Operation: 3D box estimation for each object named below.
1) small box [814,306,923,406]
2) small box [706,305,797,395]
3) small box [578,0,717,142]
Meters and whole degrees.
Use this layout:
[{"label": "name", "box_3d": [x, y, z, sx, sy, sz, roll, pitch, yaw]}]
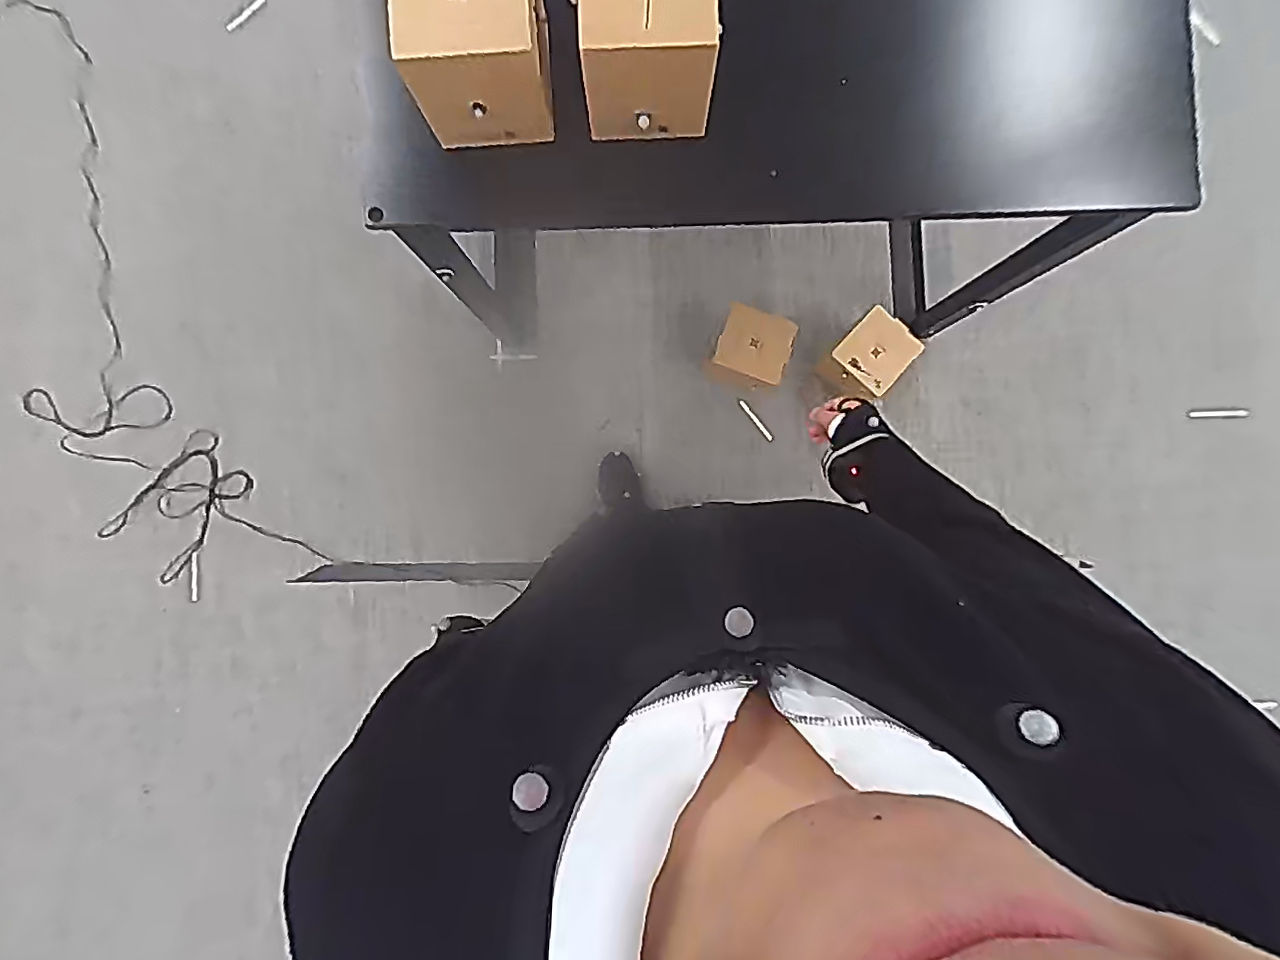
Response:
[{"label": "small box", "box_3d": [0.591, -0.320, 1.428, 0.168, 0.176, 0.179, 42, 90, 2]}, {"label": "small box", "box_3d": [0.288, -0.336, 1.435, 0.179, 0.176, 0.168, 20, 88, 2]}, {"label": "small box", "box_3d": [0.008, -0.584, 0.712, 0.168, 0.176, 0.179, -1, 89, 1]}]
